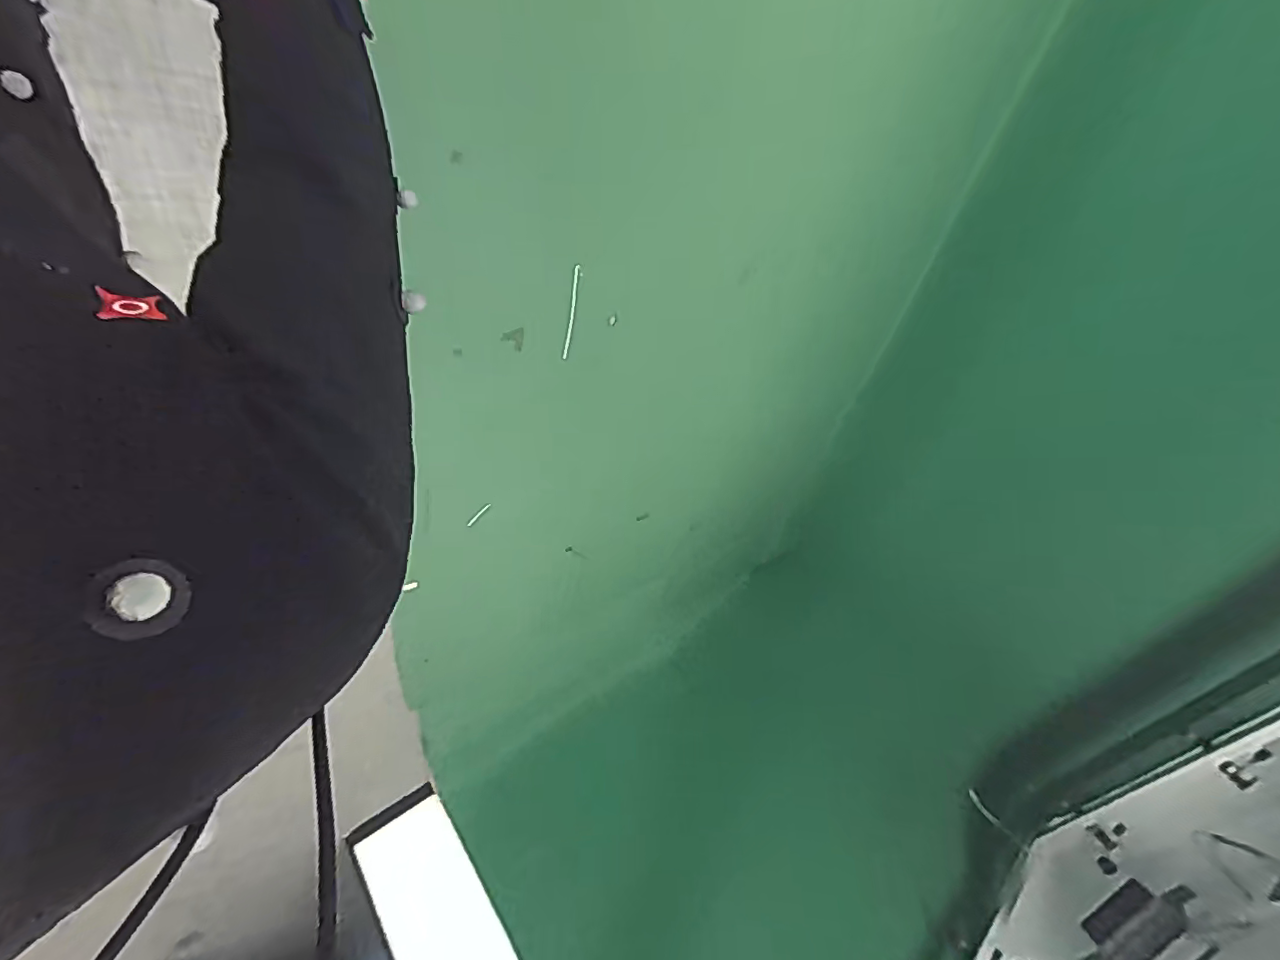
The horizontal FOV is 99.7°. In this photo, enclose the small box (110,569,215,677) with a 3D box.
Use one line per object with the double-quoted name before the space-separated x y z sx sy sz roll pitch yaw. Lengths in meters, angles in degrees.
"small box" -1.230 0.364 1.396 0.168 0.176 0.179 -18 138 -39
